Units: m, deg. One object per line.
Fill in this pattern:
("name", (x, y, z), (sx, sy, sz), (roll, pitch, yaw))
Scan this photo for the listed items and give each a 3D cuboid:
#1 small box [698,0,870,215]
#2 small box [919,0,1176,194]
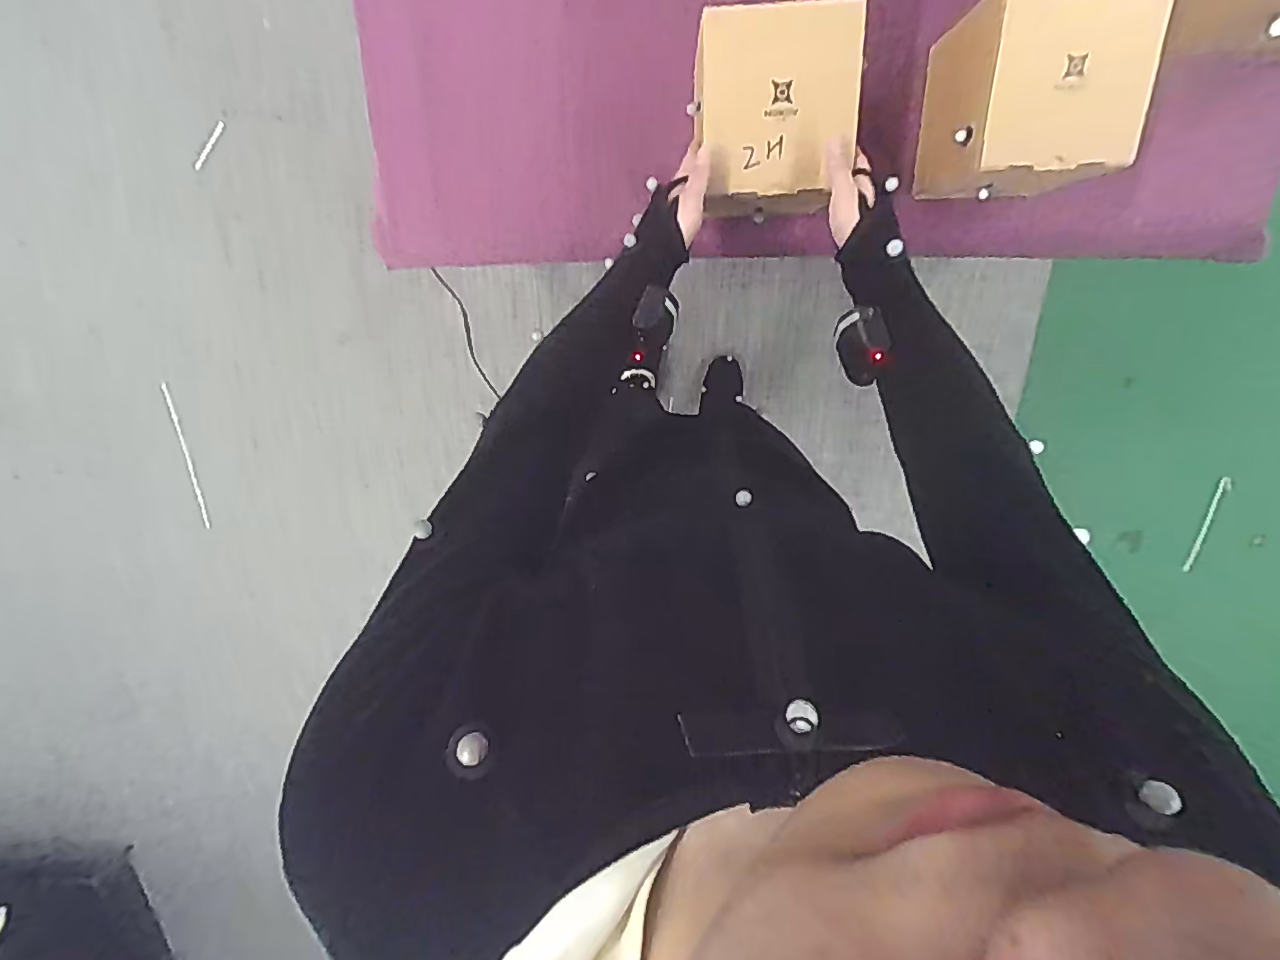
("small box", (0.157, -0.429, 0.648), (0.168, 0.176, 0.179), (-1, 109, 3))
("small box", (0.452, -0.448, 0.631), (0.168, 0.176, 0.179), (-1, 110, 2))
